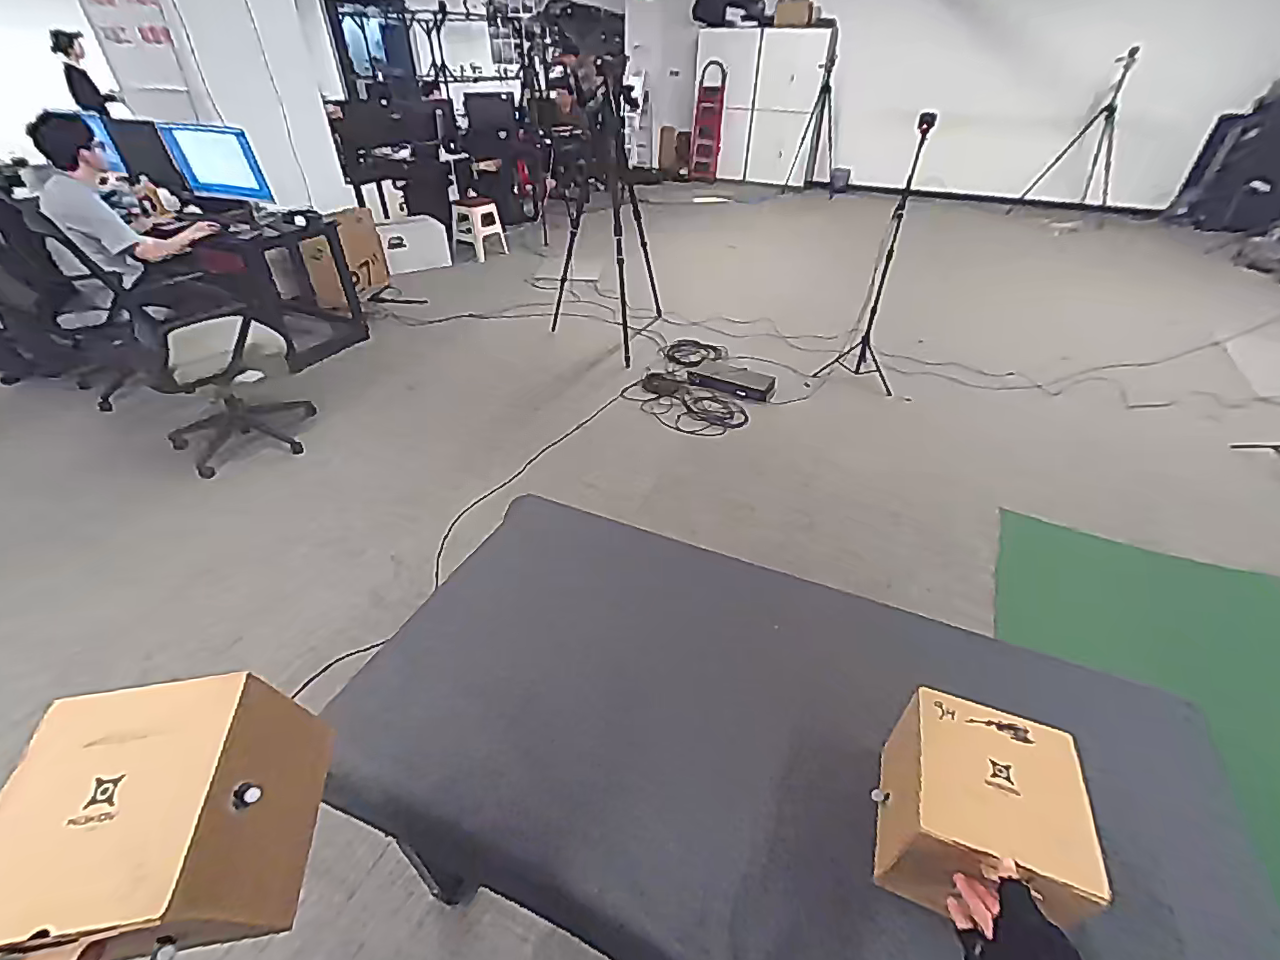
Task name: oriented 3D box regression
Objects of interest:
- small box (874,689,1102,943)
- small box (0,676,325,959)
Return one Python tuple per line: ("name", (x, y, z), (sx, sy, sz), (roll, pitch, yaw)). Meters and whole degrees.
("small box", (0.384, 0.389, 0.631), (0.168, 0.176, 0.179), (15, 40, 17))
("small box", (-0.407, 0.296, 0.468), (0.168, 0.176, 0.179), (-7, 48, -4))
